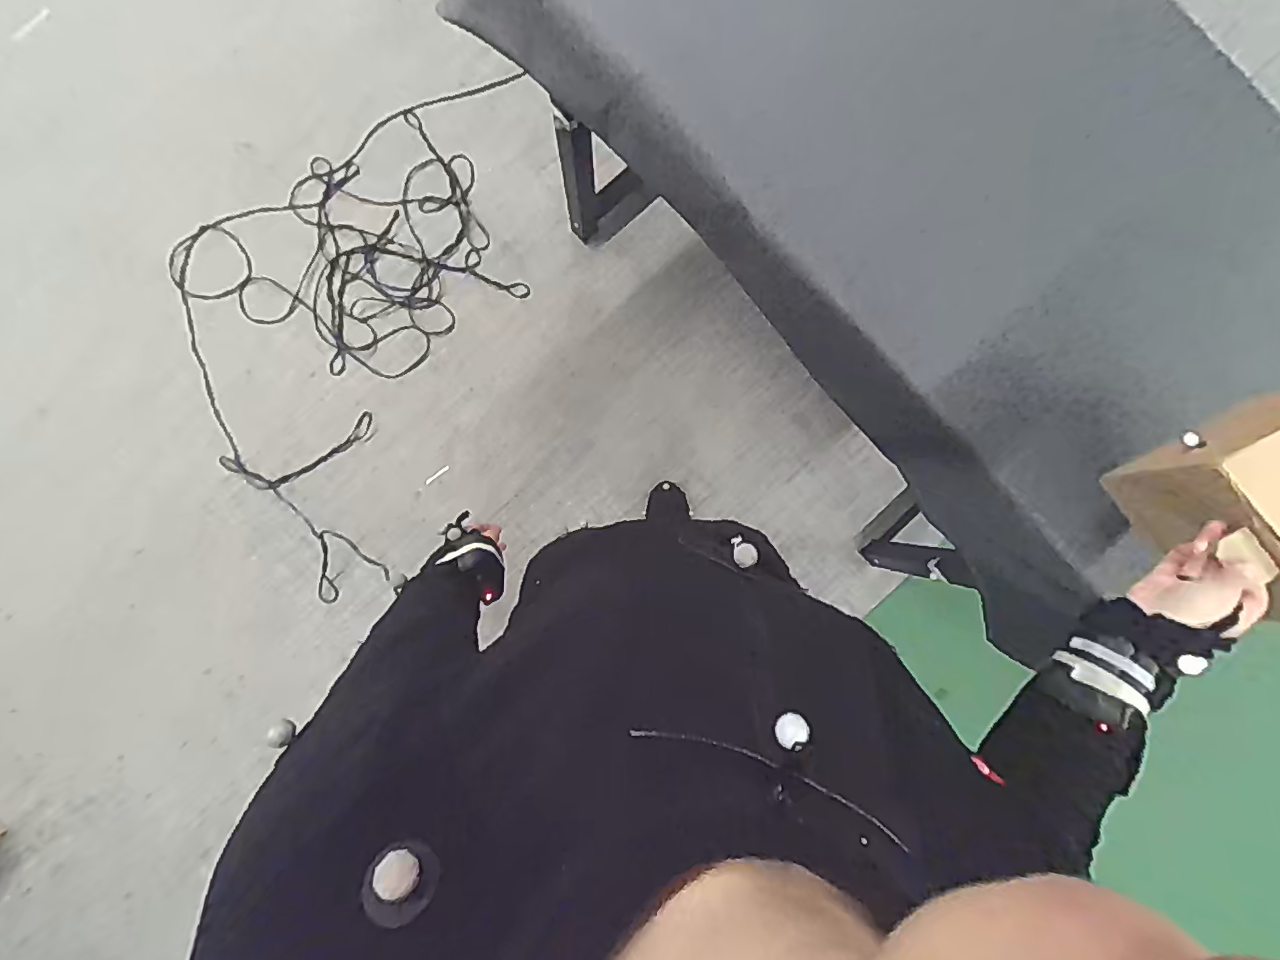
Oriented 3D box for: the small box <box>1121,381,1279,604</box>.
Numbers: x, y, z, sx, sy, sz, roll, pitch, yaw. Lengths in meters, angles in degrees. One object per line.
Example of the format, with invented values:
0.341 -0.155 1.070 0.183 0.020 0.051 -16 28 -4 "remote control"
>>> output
0.611 0.007 0.502 0.179 0.176 0.168 -32 81 7 "small box"
